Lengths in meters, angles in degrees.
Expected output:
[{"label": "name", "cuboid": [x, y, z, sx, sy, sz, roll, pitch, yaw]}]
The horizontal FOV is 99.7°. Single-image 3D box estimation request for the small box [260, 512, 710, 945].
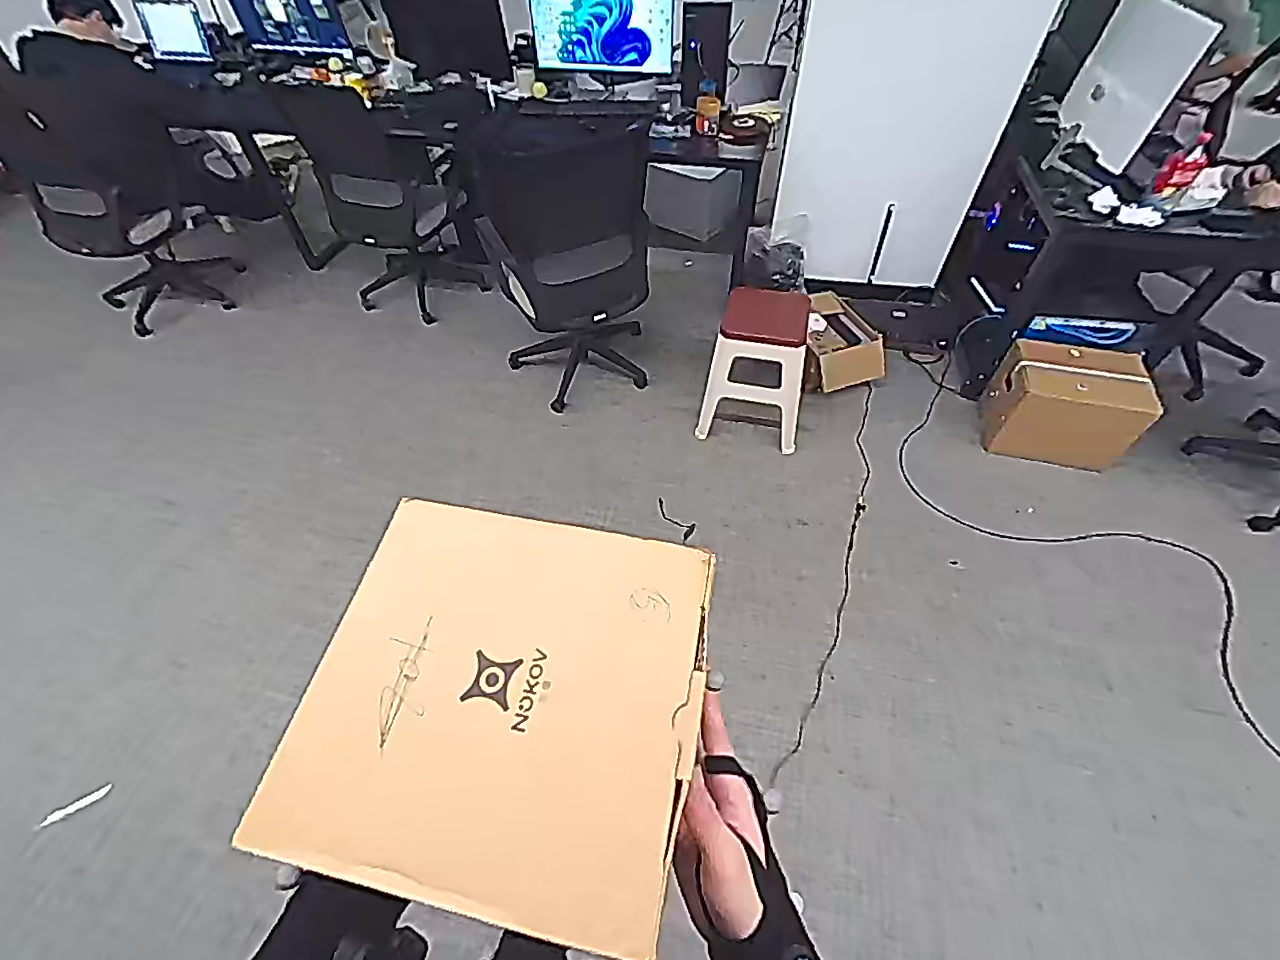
[{"label": "small box", "cuboid": [-0.060, 0.142, 0.327, 0.179, 0.176, 0.168, 8, 57, 9]}]
